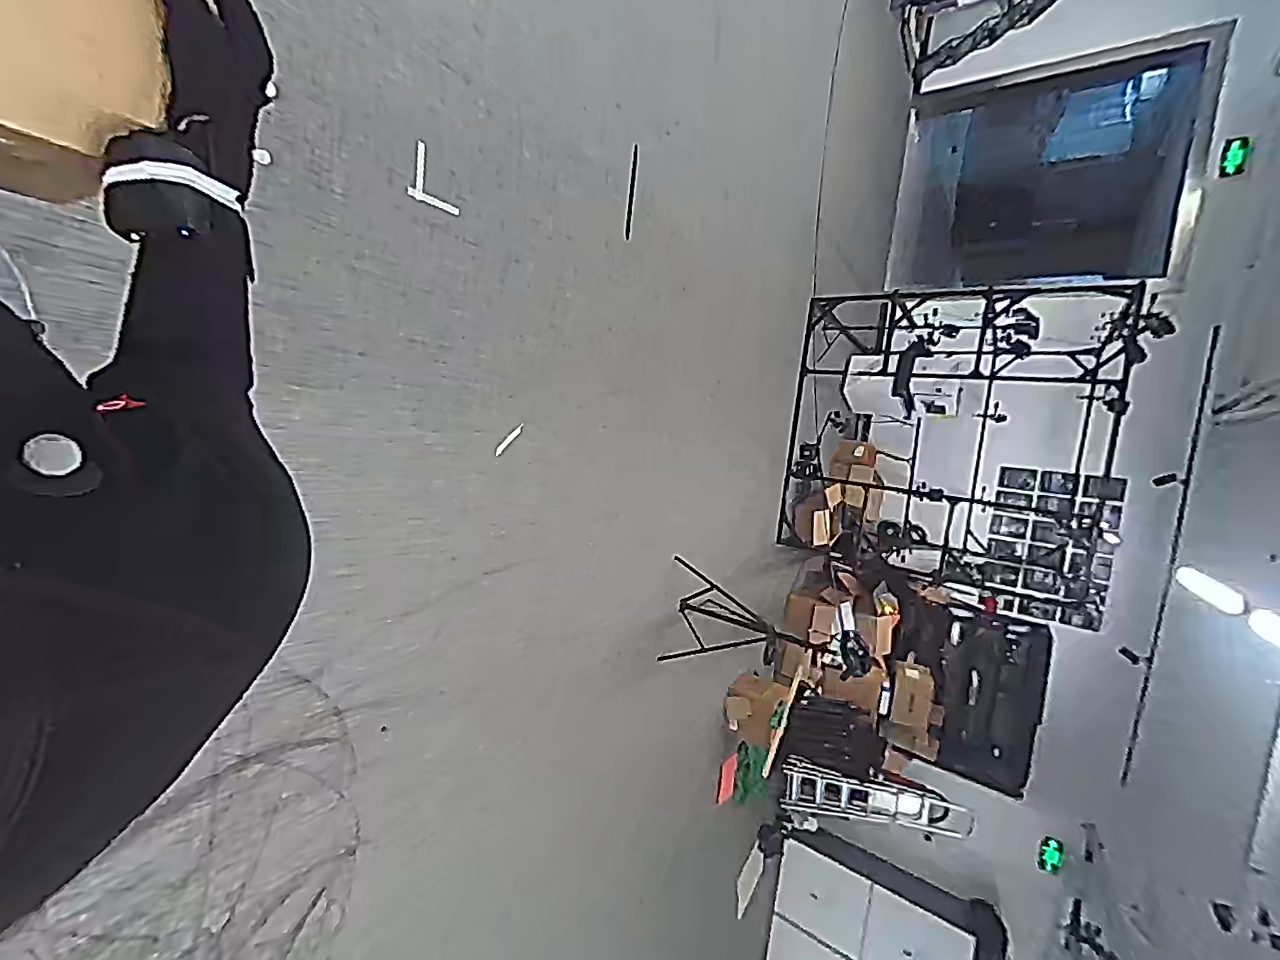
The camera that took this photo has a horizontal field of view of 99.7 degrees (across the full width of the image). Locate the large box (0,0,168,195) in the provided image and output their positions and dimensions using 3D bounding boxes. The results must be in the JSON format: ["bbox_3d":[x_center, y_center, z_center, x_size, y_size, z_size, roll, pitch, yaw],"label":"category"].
[{"bbox_3d":[-0.582,-0.410,0.311,0.408,0.320,0.320,-3,106,-59],"label":"large box"}]
